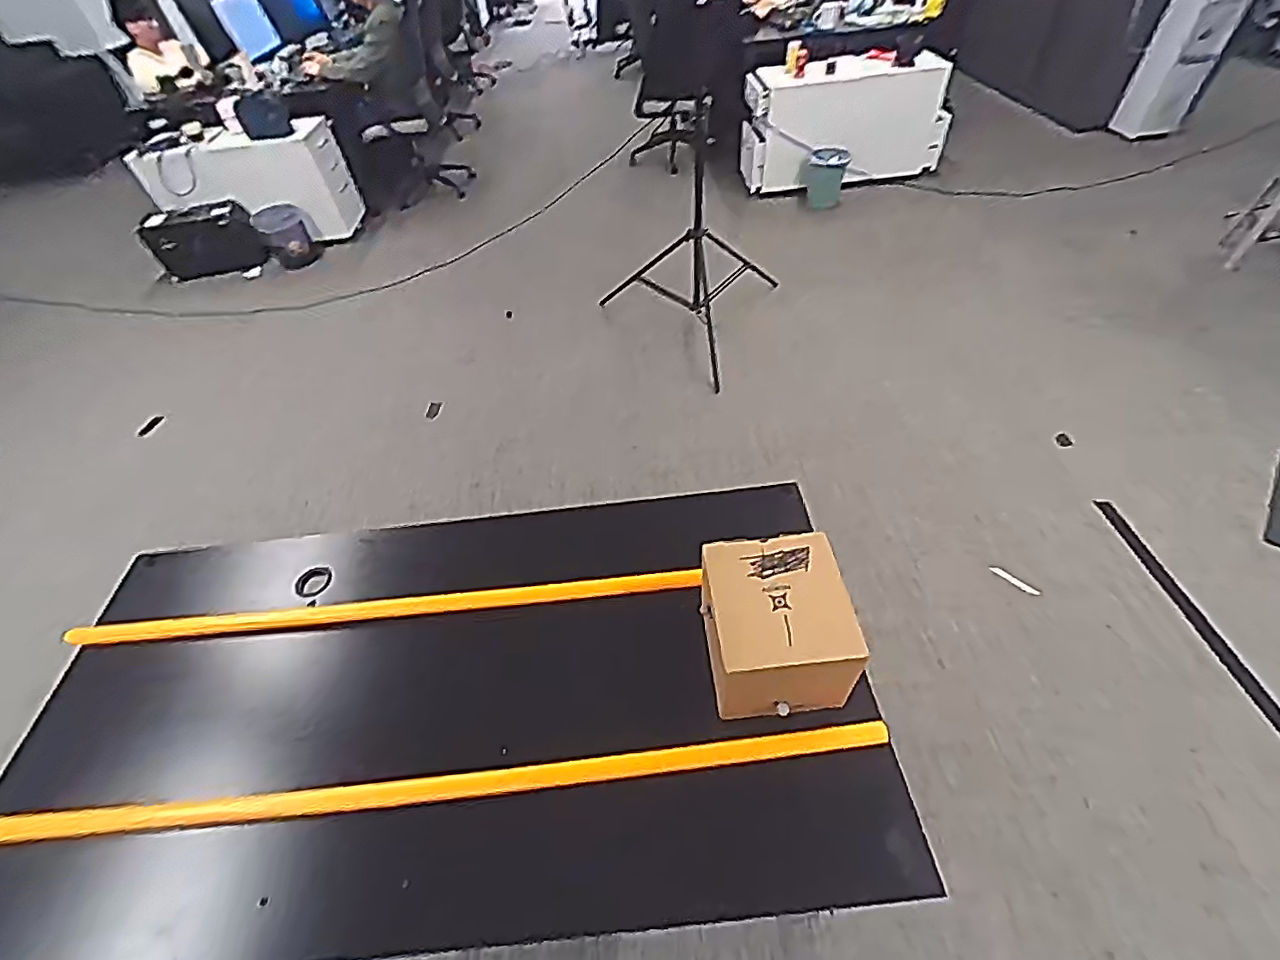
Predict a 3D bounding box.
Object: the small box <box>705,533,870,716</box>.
[{"bbox_3d":[0.179,0.194,0.723,0.168,0.176,0.179,-6,49,1],"label":"small box"}]
